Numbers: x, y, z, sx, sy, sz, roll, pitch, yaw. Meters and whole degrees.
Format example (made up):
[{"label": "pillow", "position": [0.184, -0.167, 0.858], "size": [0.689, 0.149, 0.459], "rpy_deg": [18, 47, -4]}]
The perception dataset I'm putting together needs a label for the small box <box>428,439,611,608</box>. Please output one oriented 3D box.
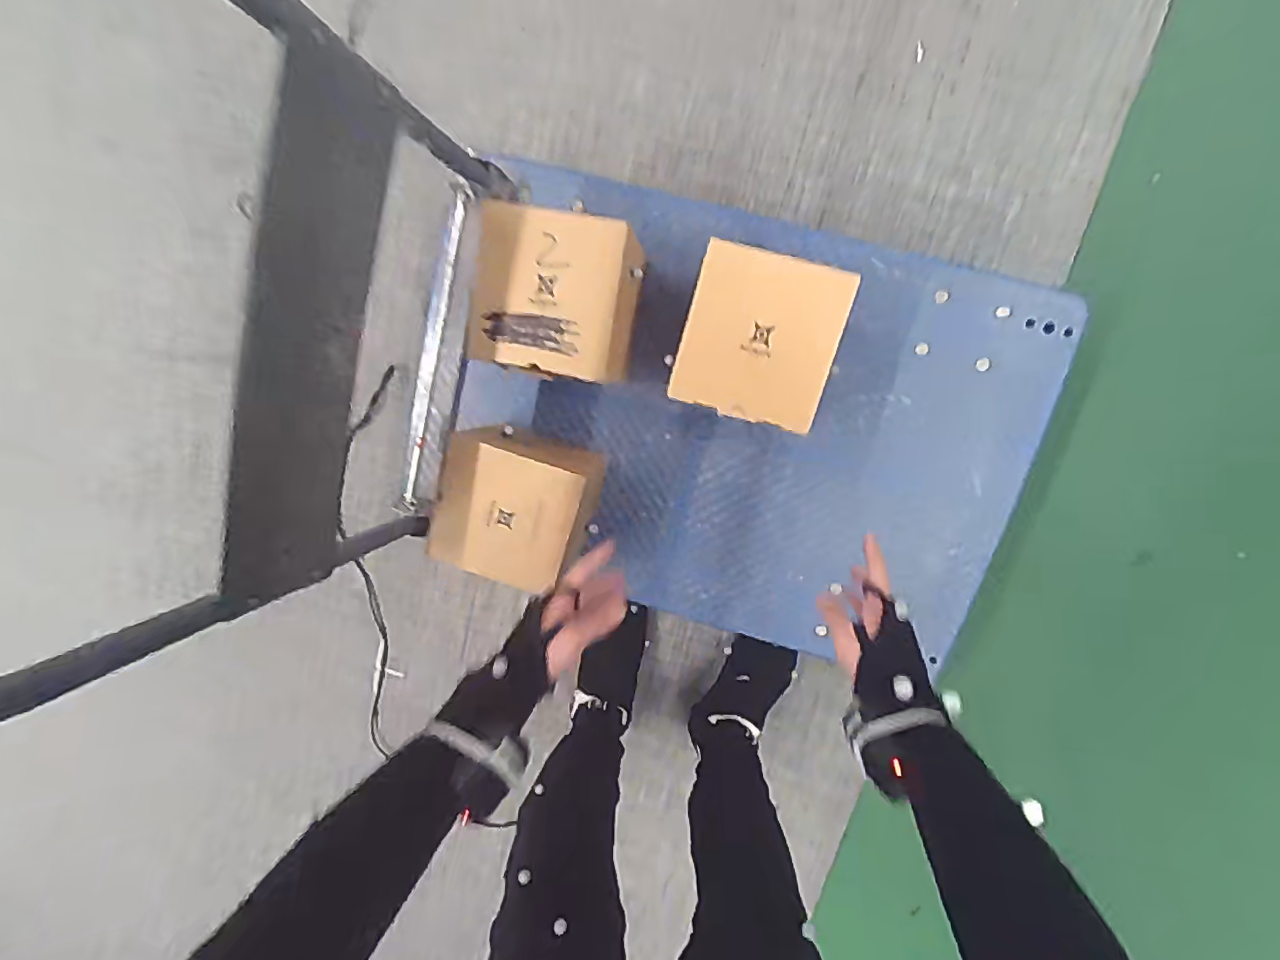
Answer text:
[{"label": "small box", "position": [-0.155, 0.046, 0.745], "size": [0.179, 0.176, 0.168], "rpy_deg": [19, 101, 3]}]
